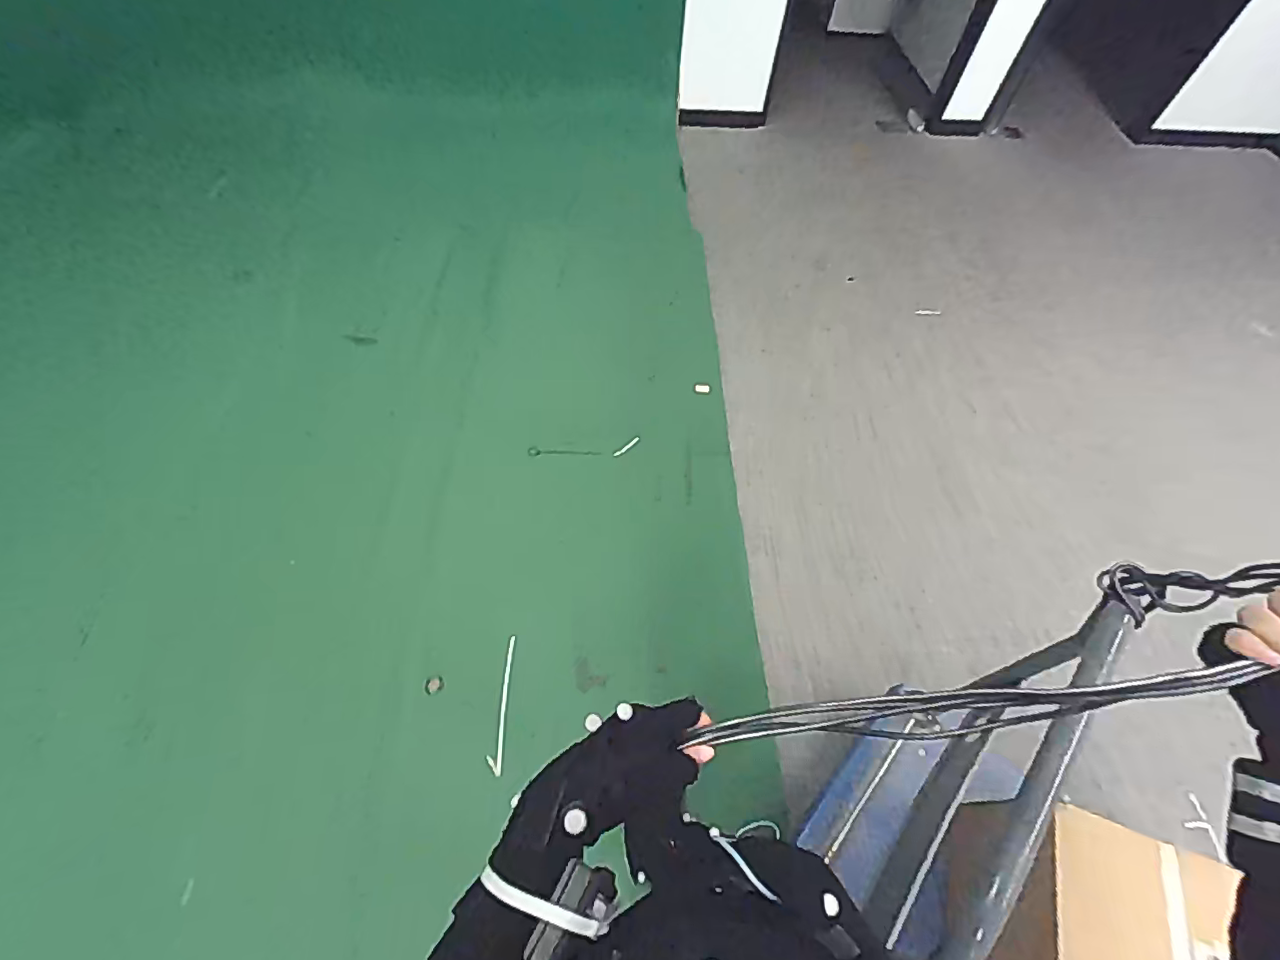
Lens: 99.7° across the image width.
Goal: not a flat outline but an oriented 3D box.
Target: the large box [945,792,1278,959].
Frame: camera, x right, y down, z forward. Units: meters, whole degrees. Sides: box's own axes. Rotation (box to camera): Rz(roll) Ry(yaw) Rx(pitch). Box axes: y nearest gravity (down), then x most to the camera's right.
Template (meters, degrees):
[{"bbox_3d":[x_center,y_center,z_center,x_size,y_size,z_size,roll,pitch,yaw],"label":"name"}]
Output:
[{"bbox_3d":[0.715,0.781,0.857,0.320,0.320,0.408,20,58,9],"label":"large box"}]
